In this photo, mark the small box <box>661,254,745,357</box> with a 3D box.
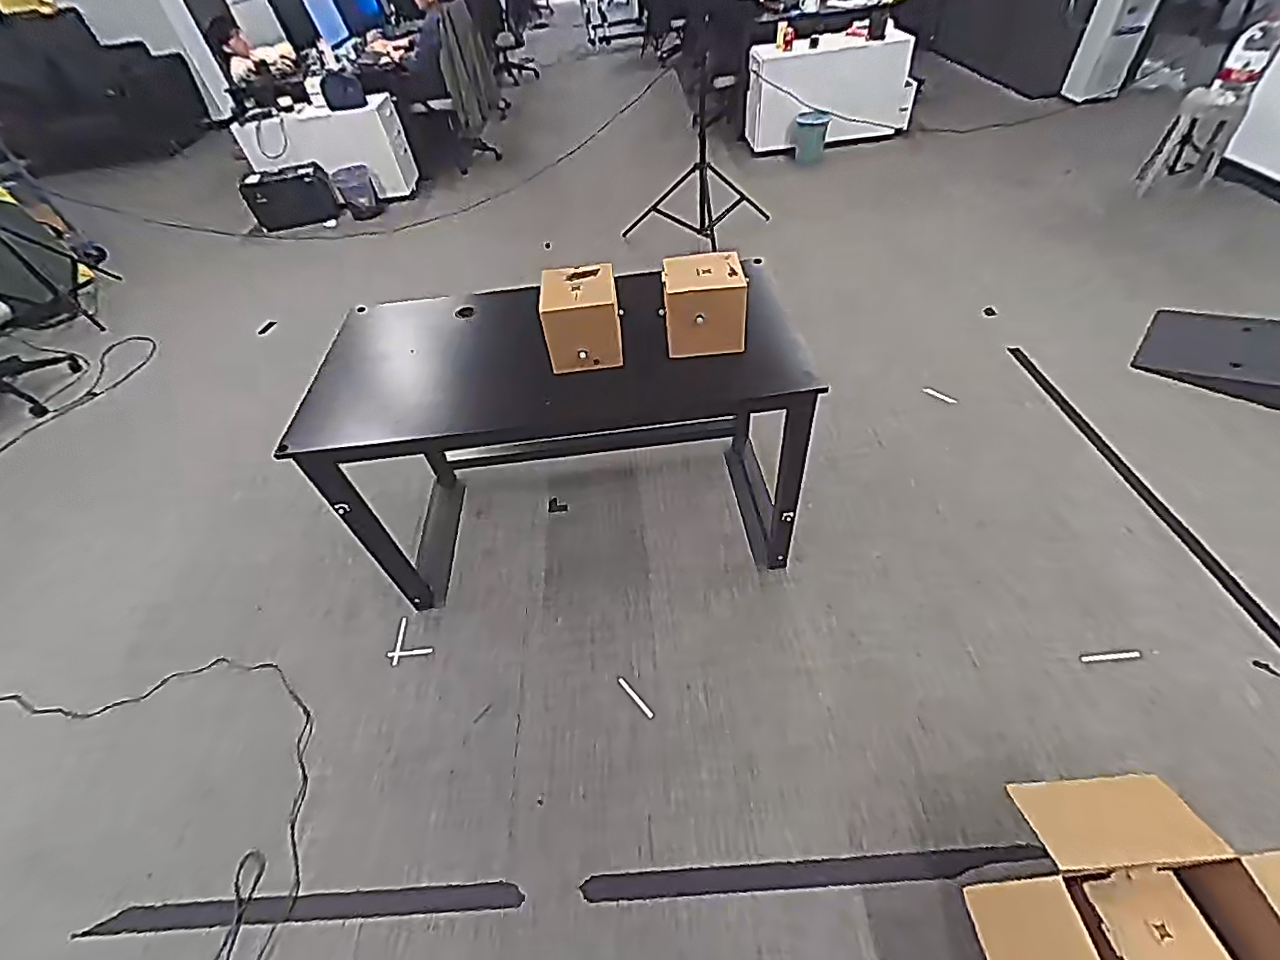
[{"bbox_3d":[0.147,-0.402,1.261,0.179,0.176,0.168,-5,48,4],"label":"small box"}]

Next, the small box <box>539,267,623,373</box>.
[{"bbox_3d":[-0.133,-0.373,1.270,0.168,0.176,0.179,-6,48,2],"label":"small box"}]
